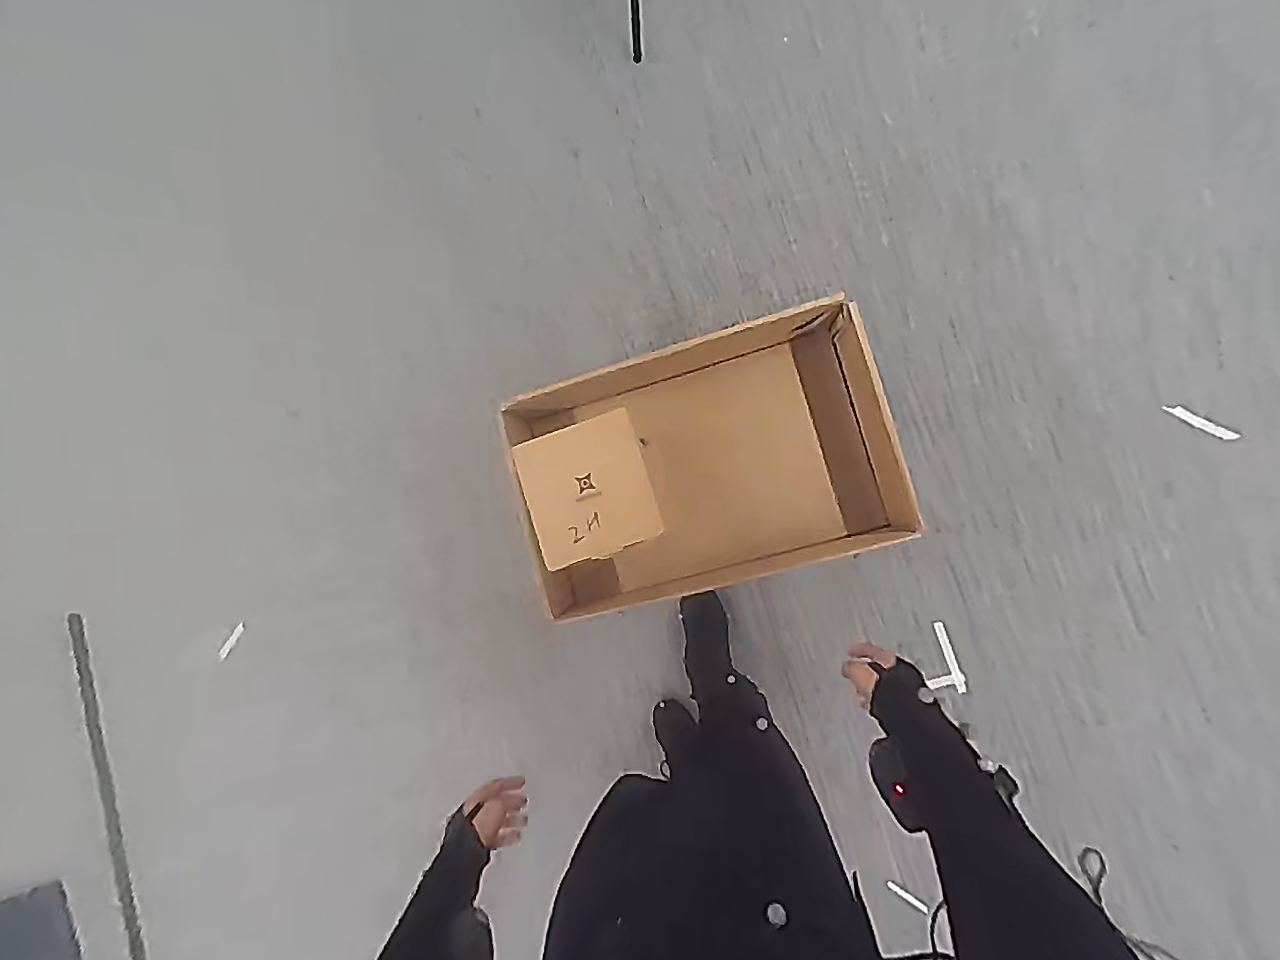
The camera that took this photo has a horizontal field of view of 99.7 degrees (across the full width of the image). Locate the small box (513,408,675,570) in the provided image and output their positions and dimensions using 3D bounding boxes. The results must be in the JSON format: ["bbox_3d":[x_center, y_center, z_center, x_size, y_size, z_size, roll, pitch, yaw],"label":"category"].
[{"bbox_3d":[-0.057,0.017,0.778,0.168,0.176,0.179,-18,85,9],"label":"small box"}]
